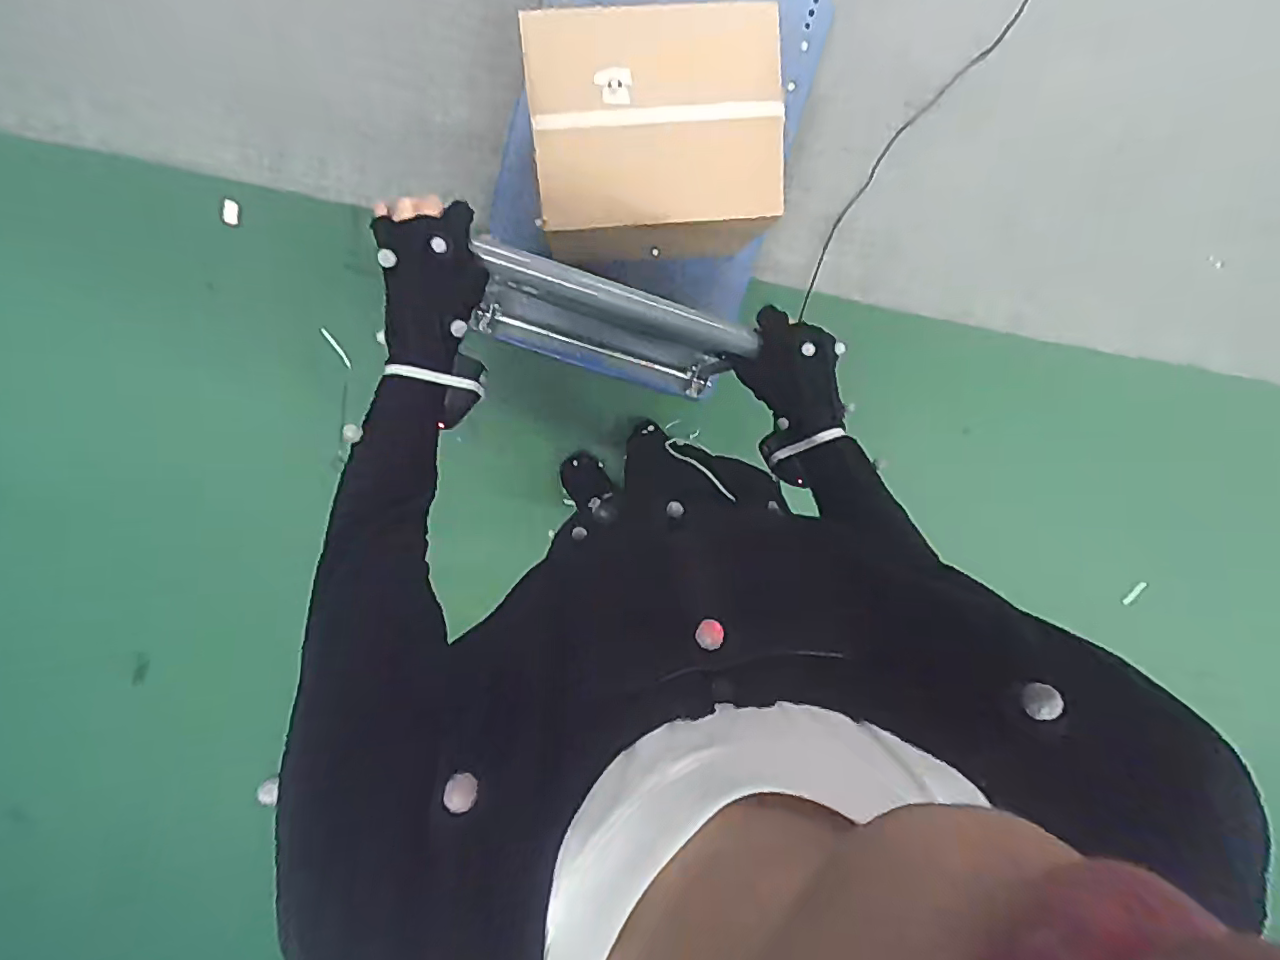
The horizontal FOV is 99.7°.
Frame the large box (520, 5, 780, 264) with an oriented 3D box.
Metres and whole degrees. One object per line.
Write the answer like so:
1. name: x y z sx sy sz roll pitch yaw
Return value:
1. large box: 0.018 -0.606 1.015 0.408 0.320 0.320 -6 101 -3
